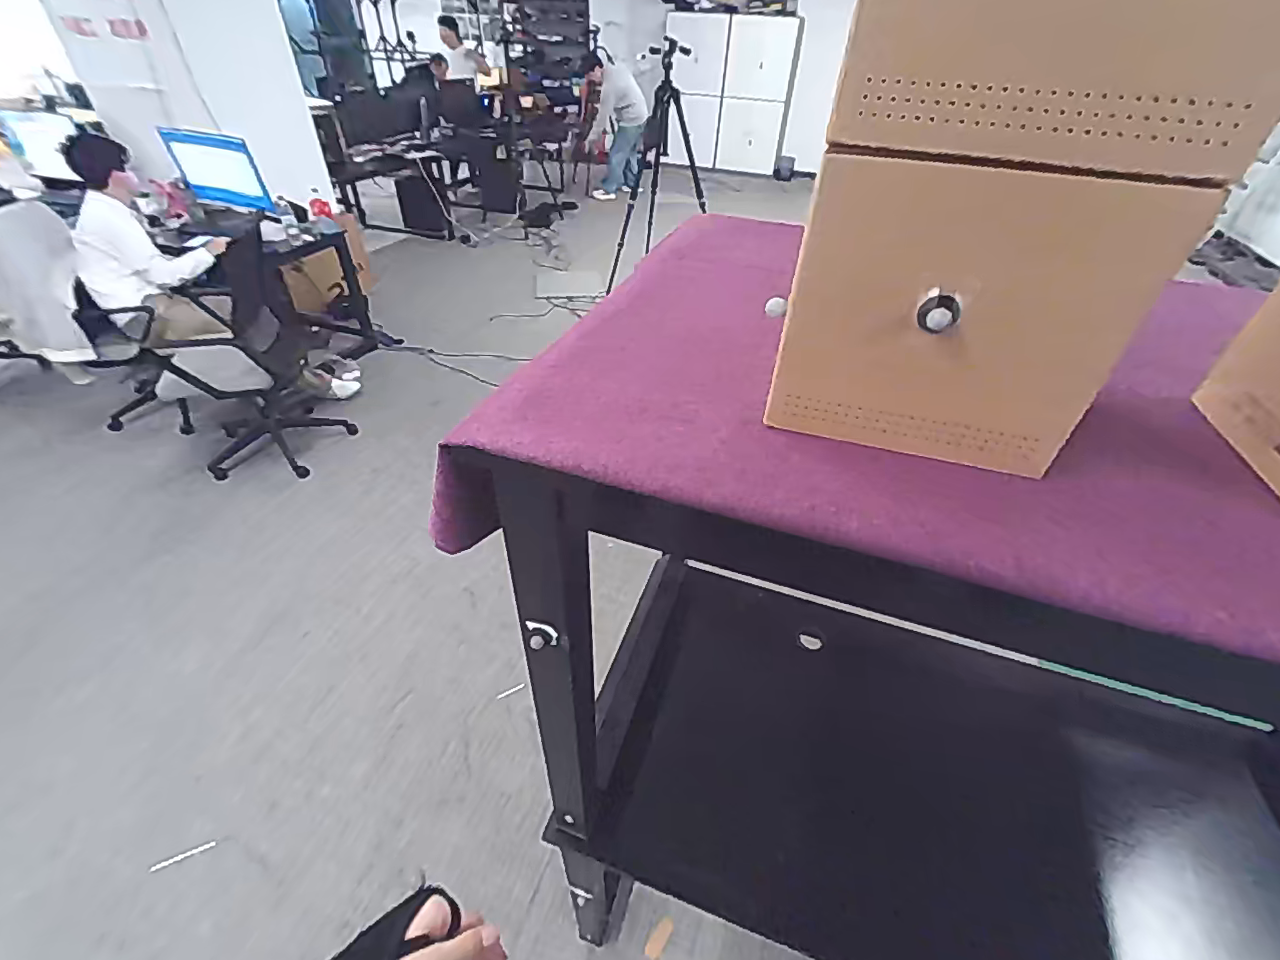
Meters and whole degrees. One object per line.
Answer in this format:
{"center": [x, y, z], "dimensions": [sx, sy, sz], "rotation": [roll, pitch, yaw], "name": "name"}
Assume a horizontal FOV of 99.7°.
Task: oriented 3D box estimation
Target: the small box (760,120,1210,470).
{"center": [0.191, -0.127, 0.363], "dimensions": [0.179, 0.176, 0.168], "rotation": [12, 40, 13], "name": "small box"}
